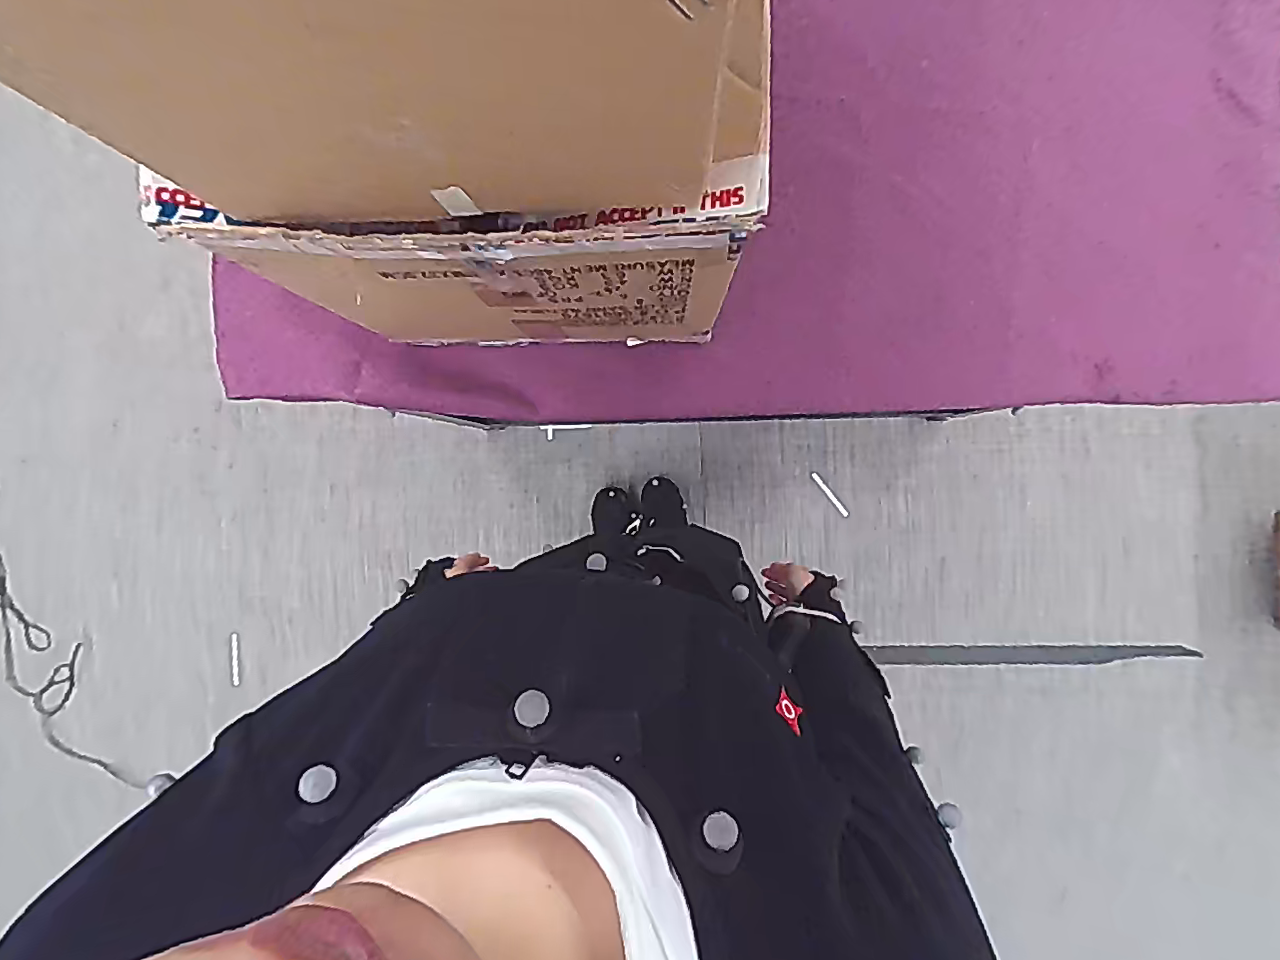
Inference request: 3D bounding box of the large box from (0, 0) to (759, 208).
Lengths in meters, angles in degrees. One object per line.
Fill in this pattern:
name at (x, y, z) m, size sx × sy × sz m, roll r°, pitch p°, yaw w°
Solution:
large box at (-0.113, -0.374, 0.194) m, size 0.320 × 0.320 × 0.408 m, roll -2°, pitch 91°, yaw 3°
